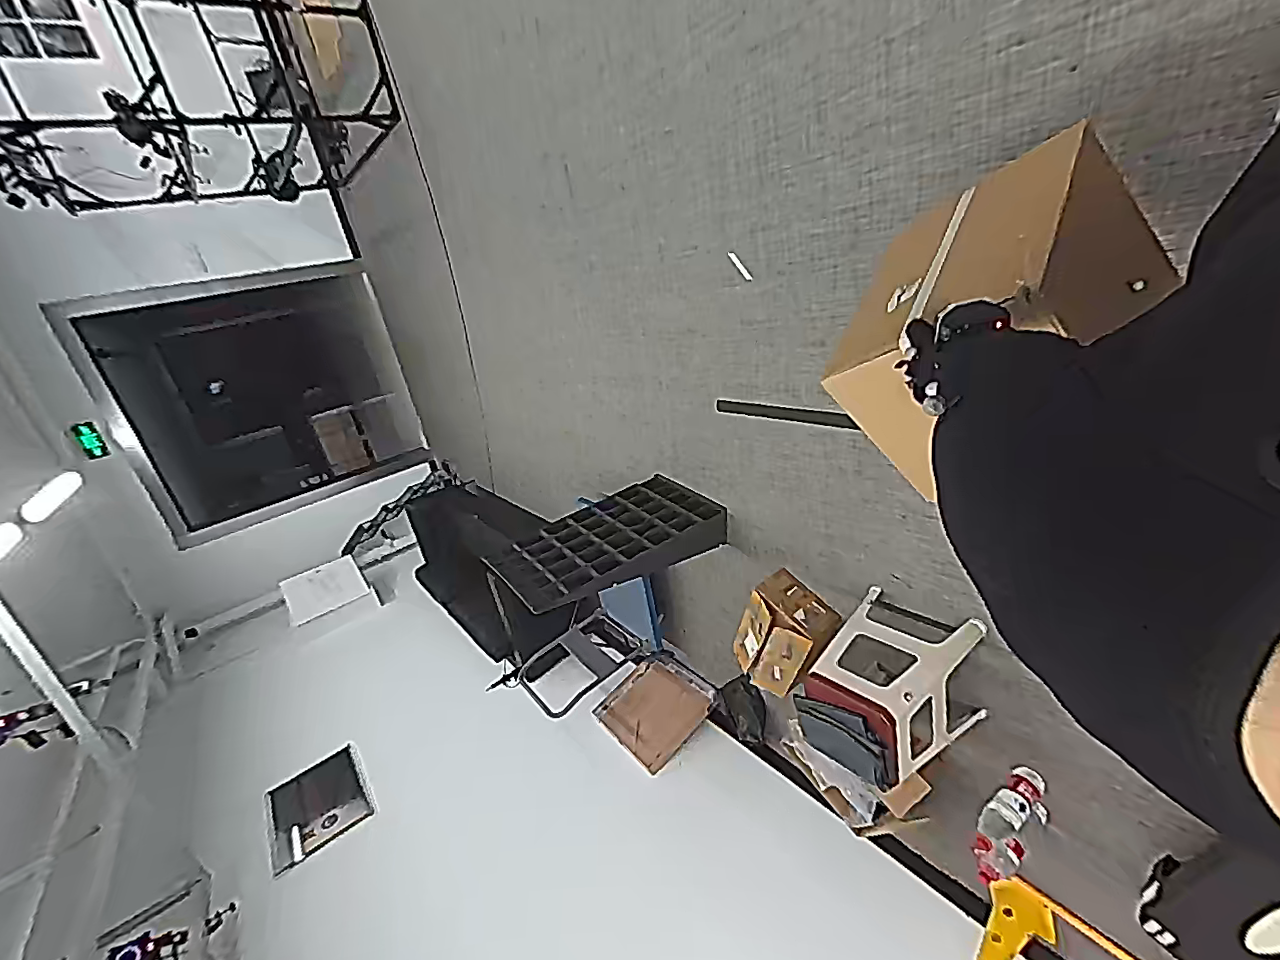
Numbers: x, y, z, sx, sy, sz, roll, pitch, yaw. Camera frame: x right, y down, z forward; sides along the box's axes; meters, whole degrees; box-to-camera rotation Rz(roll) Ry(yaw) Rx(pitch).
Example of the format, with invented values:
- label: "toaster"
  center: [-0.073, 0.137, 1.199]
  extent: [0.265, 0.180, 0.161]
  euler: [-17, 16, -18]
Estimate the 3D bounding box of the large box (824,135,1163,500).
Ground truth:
- label: "large box"
  center: [0.566, -0.230, 0.860]
  extent: [0.320, 0.408, 0.320]
  euler: [40, 153, -16]
